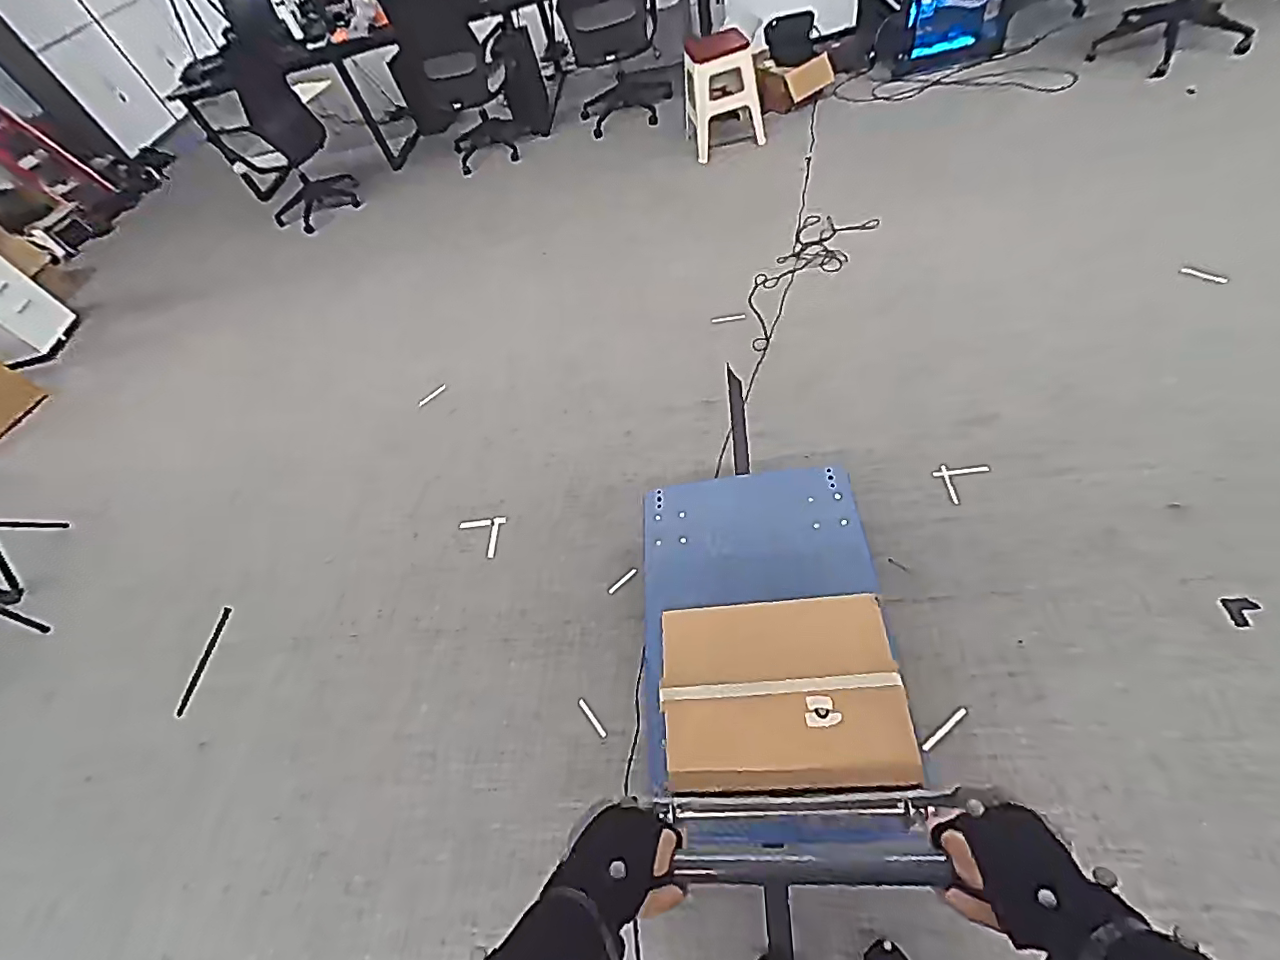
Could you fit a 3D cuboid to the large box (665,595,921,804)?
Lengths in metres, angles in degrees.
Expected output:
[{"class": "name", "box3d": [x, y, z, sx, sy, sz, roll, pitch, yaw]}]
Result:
[{"class": "large box", "box3d": [0.275, 0.451, 1.081, 0.408, 0.320, 0.320, -7, 56, 9]}]
